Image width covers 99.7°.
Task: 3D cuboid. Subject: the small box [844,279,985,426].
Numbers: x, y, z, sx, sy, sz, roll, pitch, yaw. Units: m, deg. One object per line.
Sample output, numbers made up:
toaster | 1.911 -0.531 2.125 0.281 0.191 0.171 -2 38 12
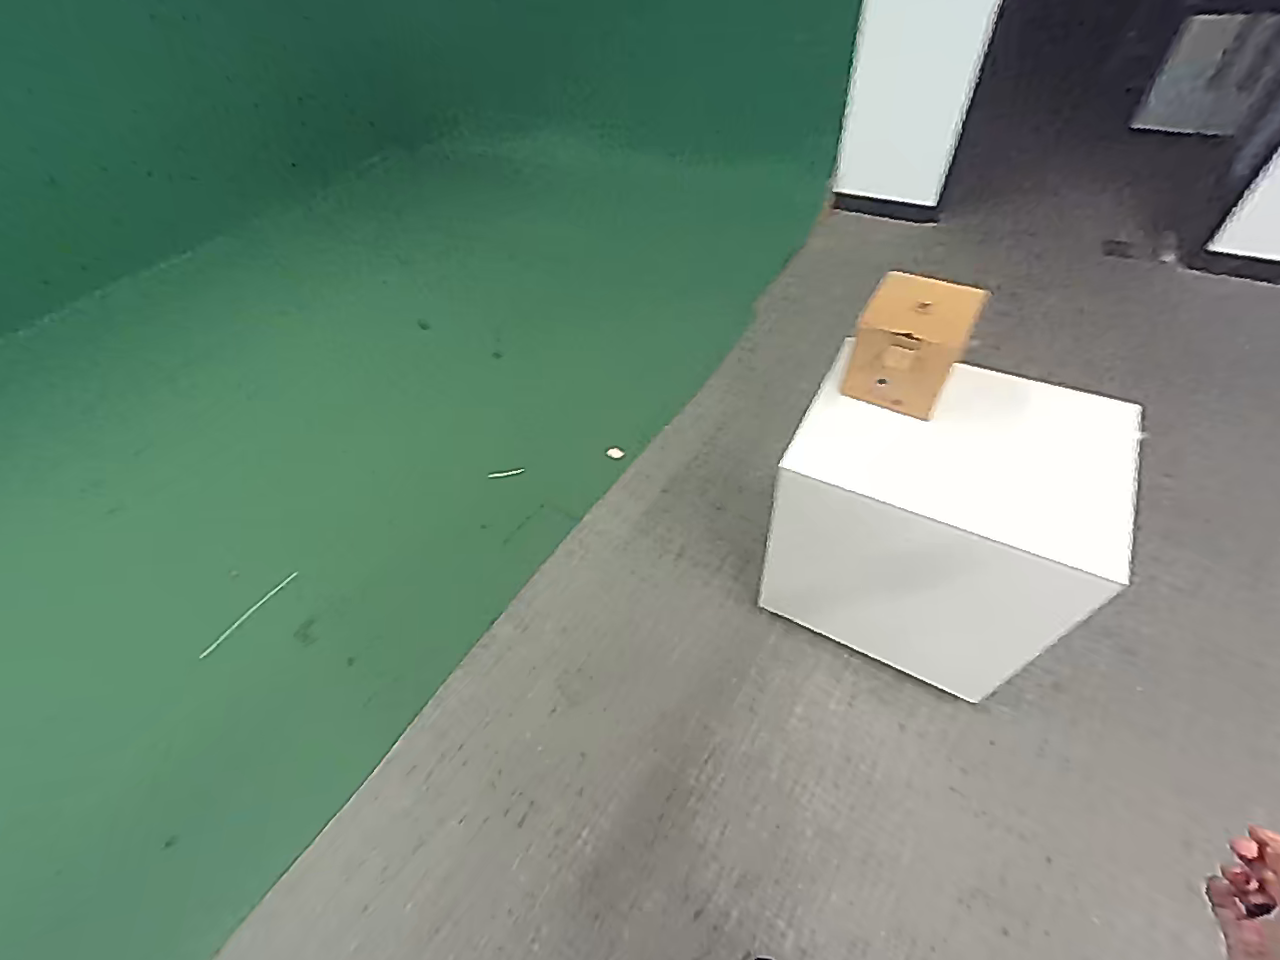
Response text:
small box | 0.491 -0.232 0.988 0.168 0.176 0.179 24 59 24
